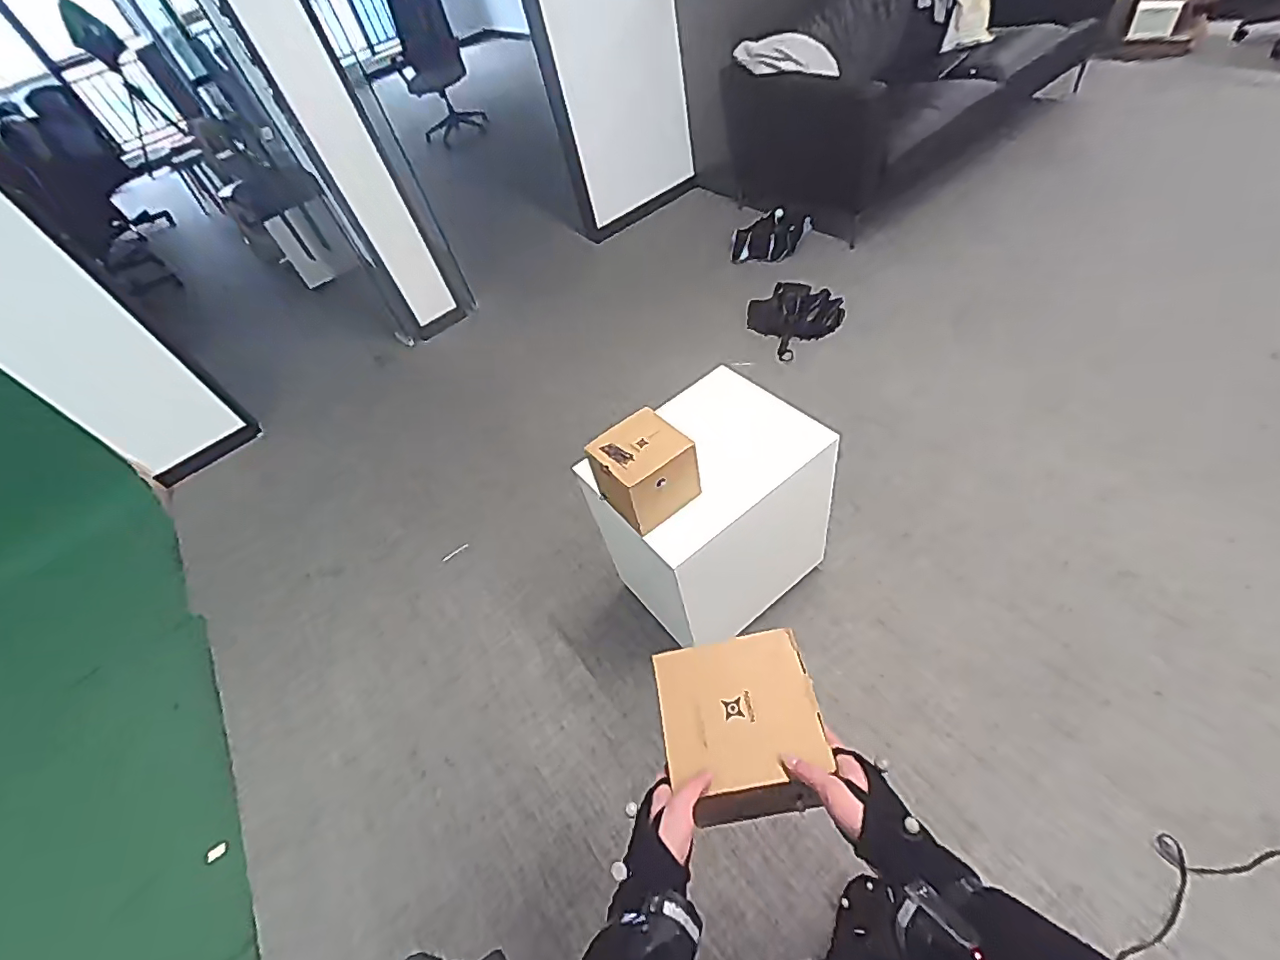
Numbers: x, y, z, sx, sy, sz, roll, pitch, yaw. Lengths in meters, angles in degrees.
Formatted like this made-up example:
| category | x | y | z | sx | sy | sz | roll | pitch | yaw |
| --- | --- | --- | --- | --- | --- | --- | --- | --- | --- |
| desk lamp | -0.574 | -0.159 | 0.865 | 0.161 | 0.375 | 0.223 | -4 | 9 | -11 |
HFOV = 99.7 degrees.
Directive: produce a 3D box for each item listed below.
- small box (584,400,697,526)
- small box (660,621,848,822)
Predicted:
| category | x | y | z | sx | sy | sz | roll | pitch | yaw |
| --- | --- | --- | --- | --- | --- | --- | --- | --- | --- |
| small box | 0.008 | -0.033 | 1.165 | 0.179 | 0.176 | 0.168 | -35 | 53 | -18 |
| small box | 0.135 | 0.300 | 0.664 | 0.179 | 0.176 | 0.168 | -15 | 47 | 4 |
